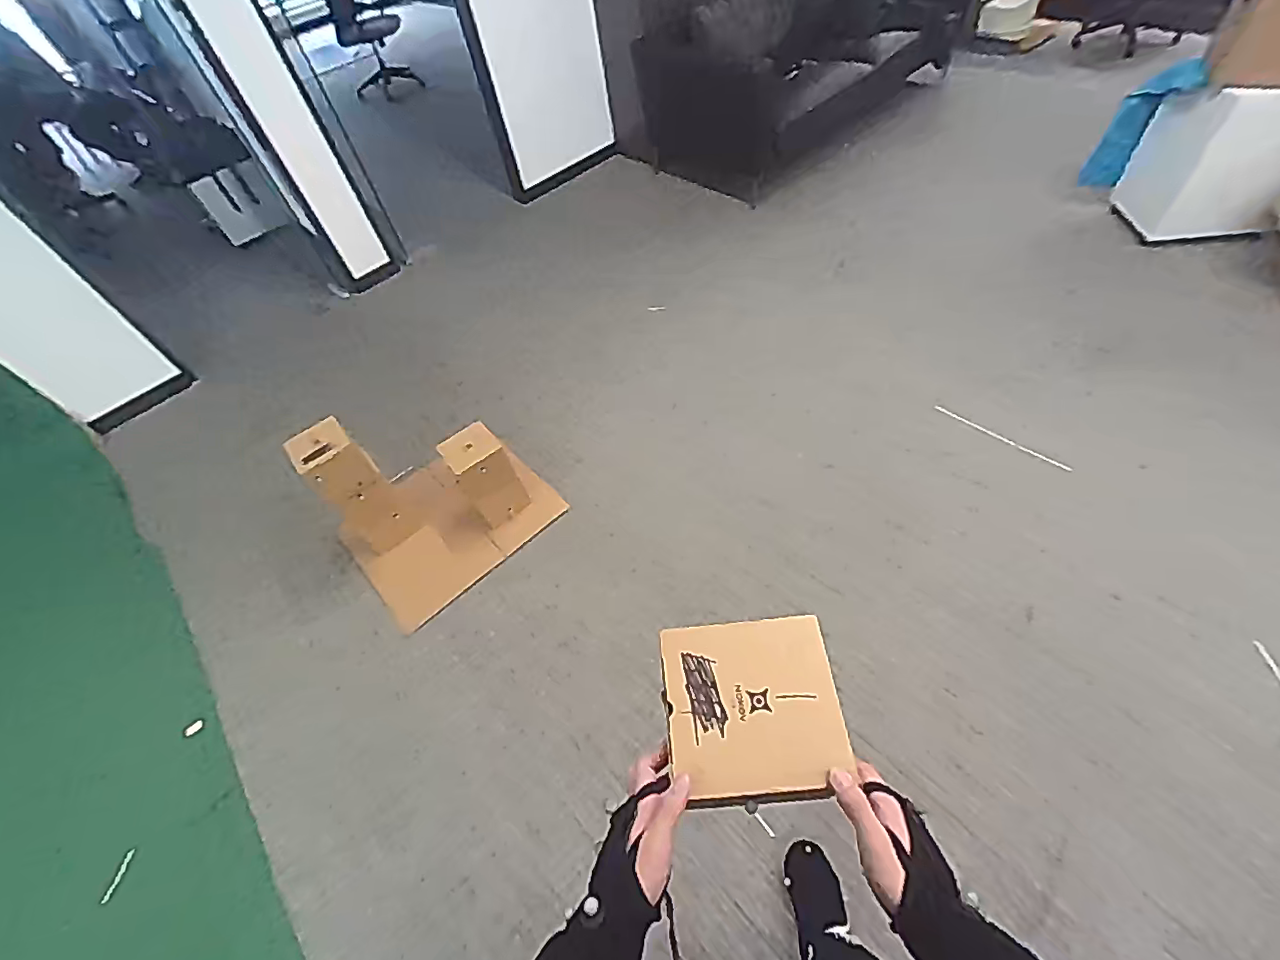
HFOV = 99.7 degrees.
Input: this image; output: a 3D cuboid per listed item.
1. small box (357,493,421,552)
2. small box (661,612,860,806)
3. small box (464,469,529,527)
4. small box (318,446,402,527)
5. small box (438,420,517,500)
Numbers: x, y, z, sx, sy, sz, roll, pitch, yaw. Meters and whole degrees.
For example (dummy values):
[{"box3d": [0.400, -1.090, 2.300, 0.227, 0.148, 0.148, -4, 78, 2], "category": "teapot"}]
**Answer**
[{"box3d": [-0.926, 0.124, 1.966, 0.179, 0.176, 0.168, -38, 56, -18], "category": "small box"}, {"box3d": [0.123, 0.265, 0.613, 0.179, 0.176, 0.168, -7, 56, 3], "category": "small box"}, {"box3d": [-0.523, 0.035, 1.970, 0.179, 0.176, 0.168, -37, 56, -17], "category": "small box"}, {"box3d": [-0.943, 0.025, 1.840, 0.179, 0.176, 0.168, -39, 57, -18], "category": "small box"}, {"box3d": [-0.547, -0.063, 1.841, 0.179, 0.176, 0.168, -35, 56, -16], "category": "small box"}]
